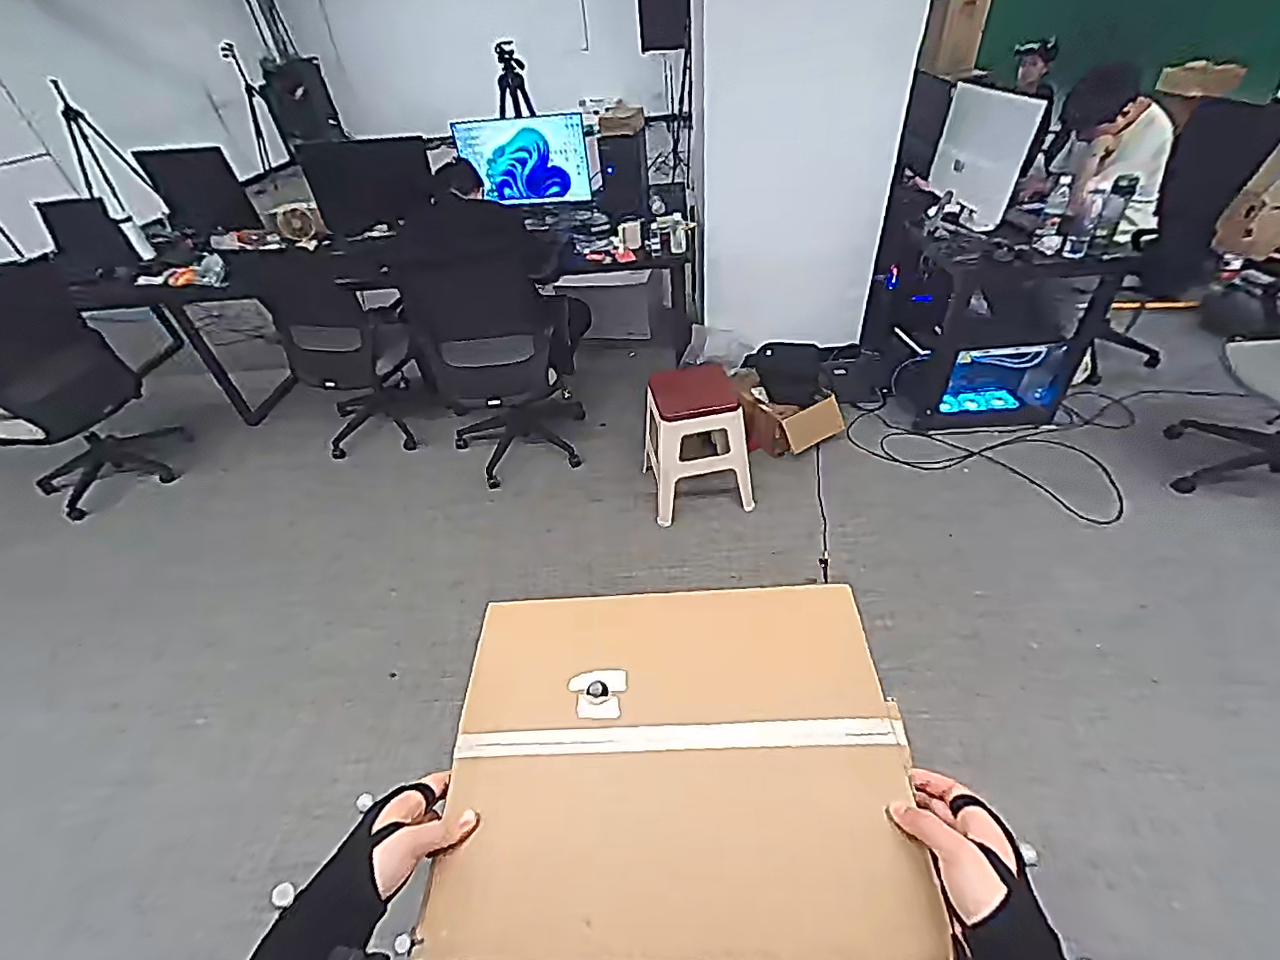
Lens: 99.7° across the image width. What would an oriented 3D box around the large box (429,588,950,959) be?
[{"bbox_3d":[0.051,0.351,0.613,0.408,0.320,0.320,-6,44,6],"label":"large box"}]
